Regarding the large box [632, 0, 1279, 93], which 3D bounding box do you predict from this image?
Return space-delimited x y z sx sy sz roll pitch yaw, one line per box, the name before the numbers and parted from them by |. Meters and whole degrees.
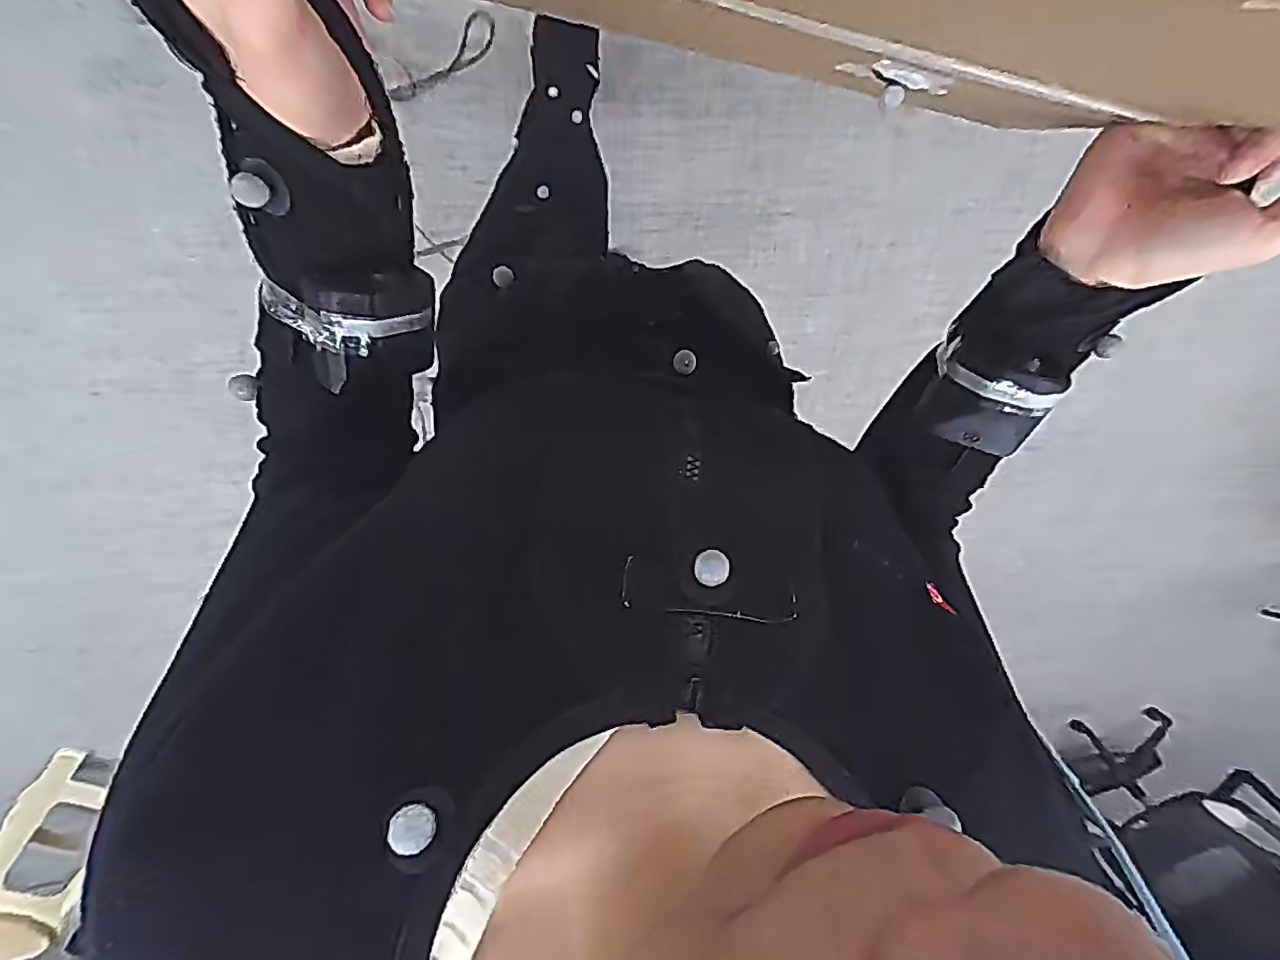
large box | 0.092 -0.323 0.123 0.408 0.320 0.320 5 123 -10
